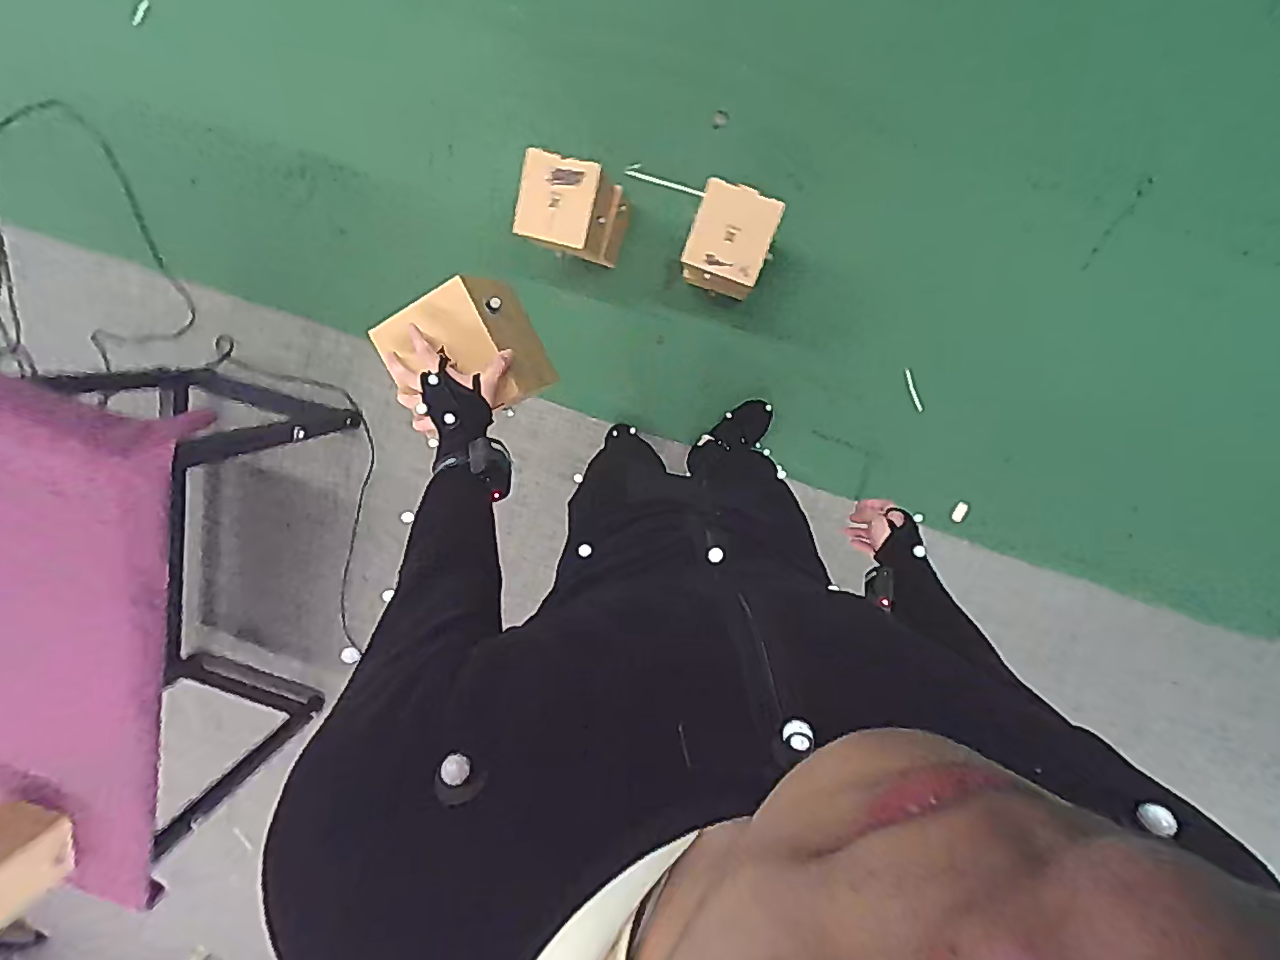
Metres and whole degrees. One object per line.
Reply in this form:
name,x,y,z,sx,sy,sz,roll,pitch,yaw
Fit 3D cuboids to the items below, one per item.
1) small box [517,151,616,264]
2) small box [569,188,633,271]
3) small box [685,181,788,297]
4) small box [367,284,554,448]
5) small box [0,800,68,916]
small box,-0.162,-0.618,1.246,0.168,0.176,0.179,17,106,5
small box,-0.126,-0.660,1.401,0.168,0.176,0.179,20,105,5
small box,0.210,-0.526,1.206,0.168,0.176,0.179,23,106,3
small box,-0.259,-0.173,0.818,0.168,0.176,0.179,-24,101,18
small box,-1.485,0.876,1.240,0.179,0.176,0.168,14,106,5
